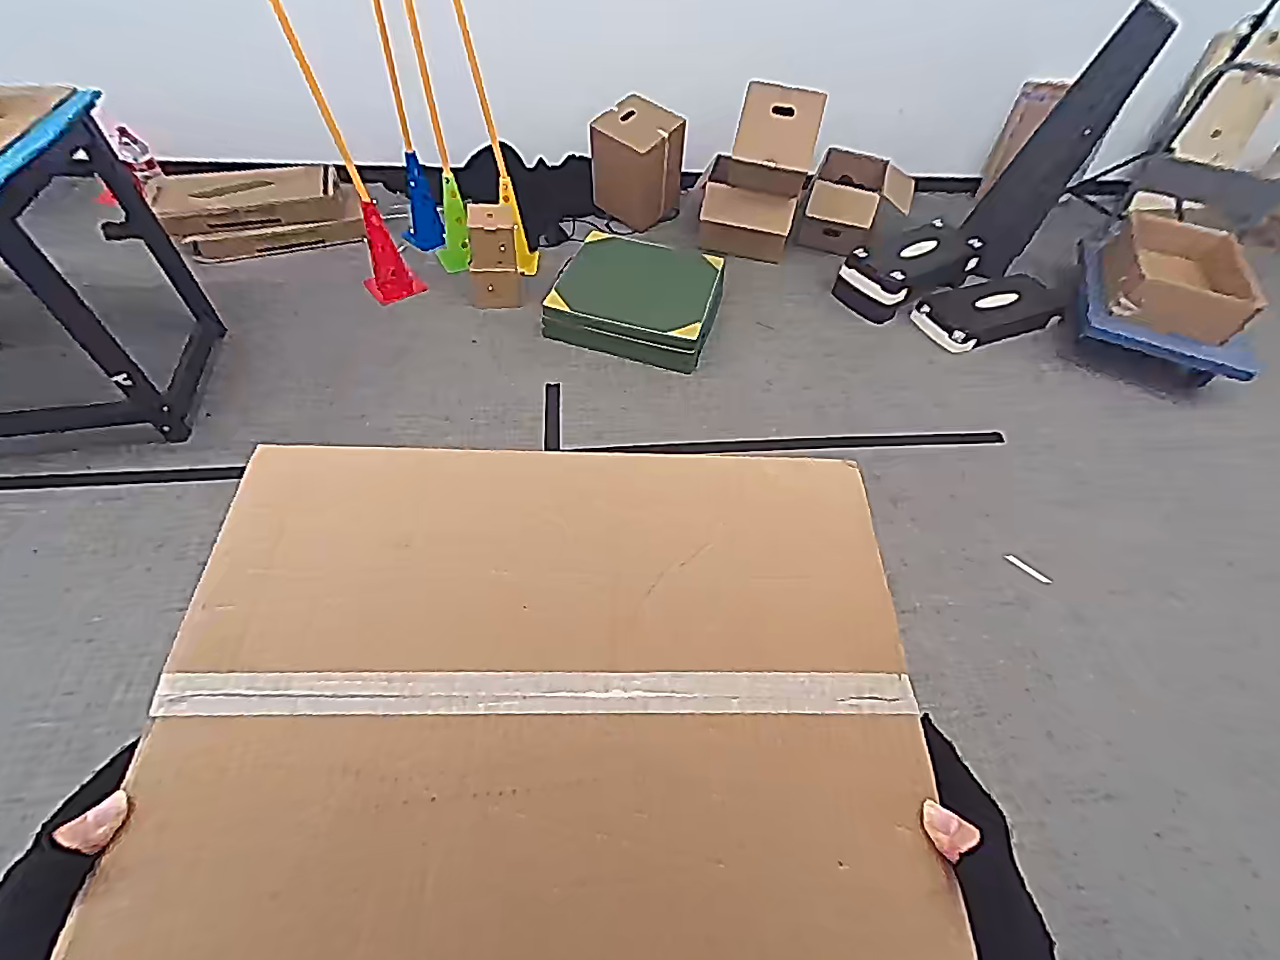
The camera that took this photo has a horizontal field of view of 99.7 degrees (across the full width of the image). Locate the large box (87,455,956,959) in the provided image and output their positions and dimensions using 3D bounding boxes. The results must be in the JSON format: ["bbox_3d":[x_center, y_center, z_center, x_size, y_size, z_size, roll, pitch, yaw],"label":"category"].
[{"bbox_3d":[-0.059,0.191,0.437,0.408,0.320,0.320,1,61,-3],"label":"large box"}]
